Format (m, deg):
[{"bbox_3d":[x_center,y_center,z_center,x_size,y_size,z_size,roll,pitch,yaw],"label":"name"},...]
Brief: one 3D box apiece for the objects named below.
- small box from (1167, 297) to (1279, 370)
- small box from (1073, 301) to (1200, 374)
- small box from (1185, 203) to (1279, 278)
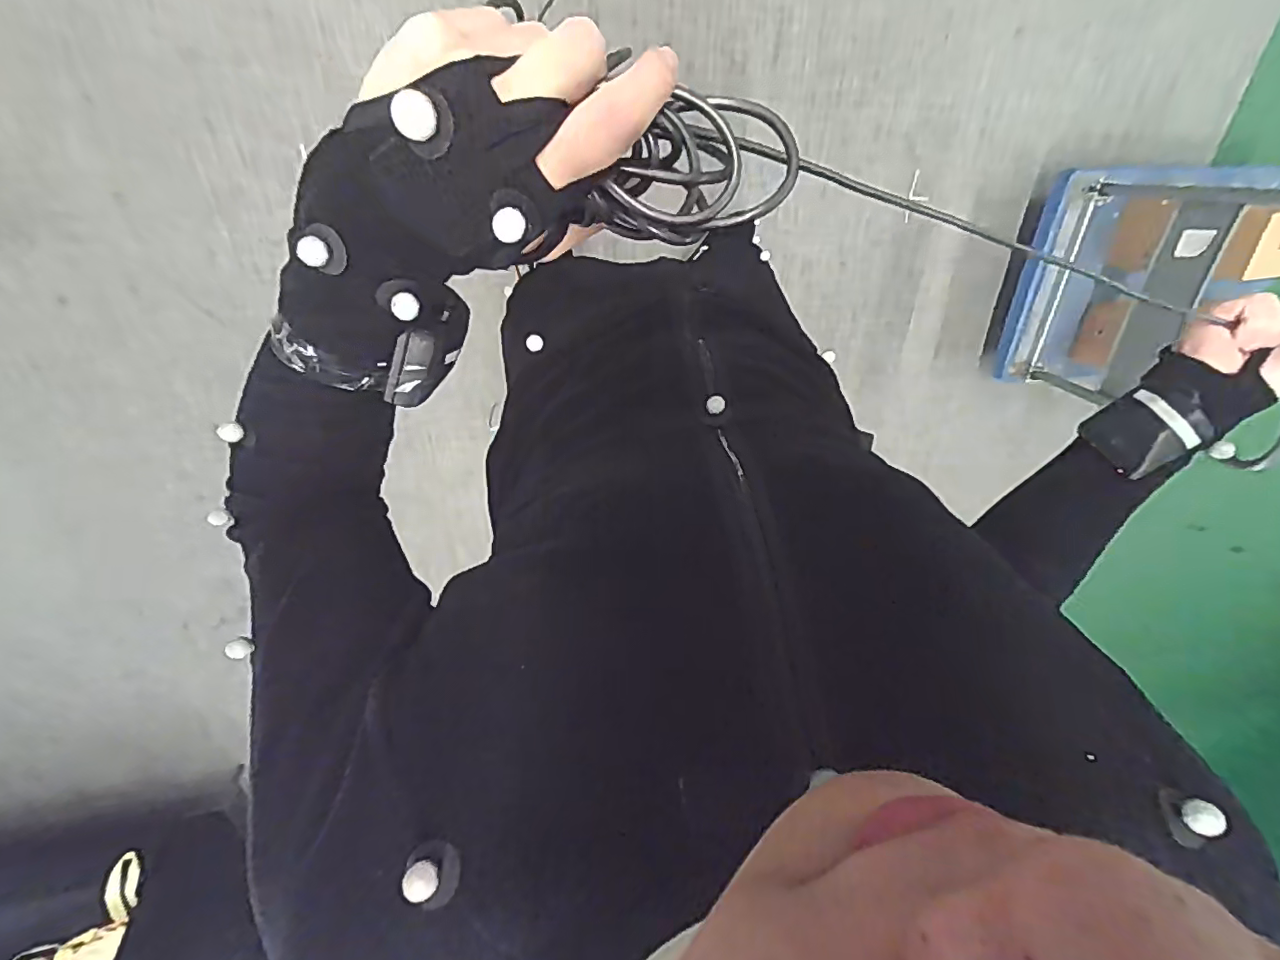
[{"bbox_3d":[1.683,-0.438,1.600,0.179,0.176,0.168,-8,120,-7],"label":"small box"},{"bbox_3d":[1.418,-0.414,1.556,0.179,0.176,0.168,-4,120,-9],"label":"small box"},{"bbox_3d":[1.666,-0.654,1.472,0.179,0.176,0.168,-8,122,-8],"label":"small box"}]
